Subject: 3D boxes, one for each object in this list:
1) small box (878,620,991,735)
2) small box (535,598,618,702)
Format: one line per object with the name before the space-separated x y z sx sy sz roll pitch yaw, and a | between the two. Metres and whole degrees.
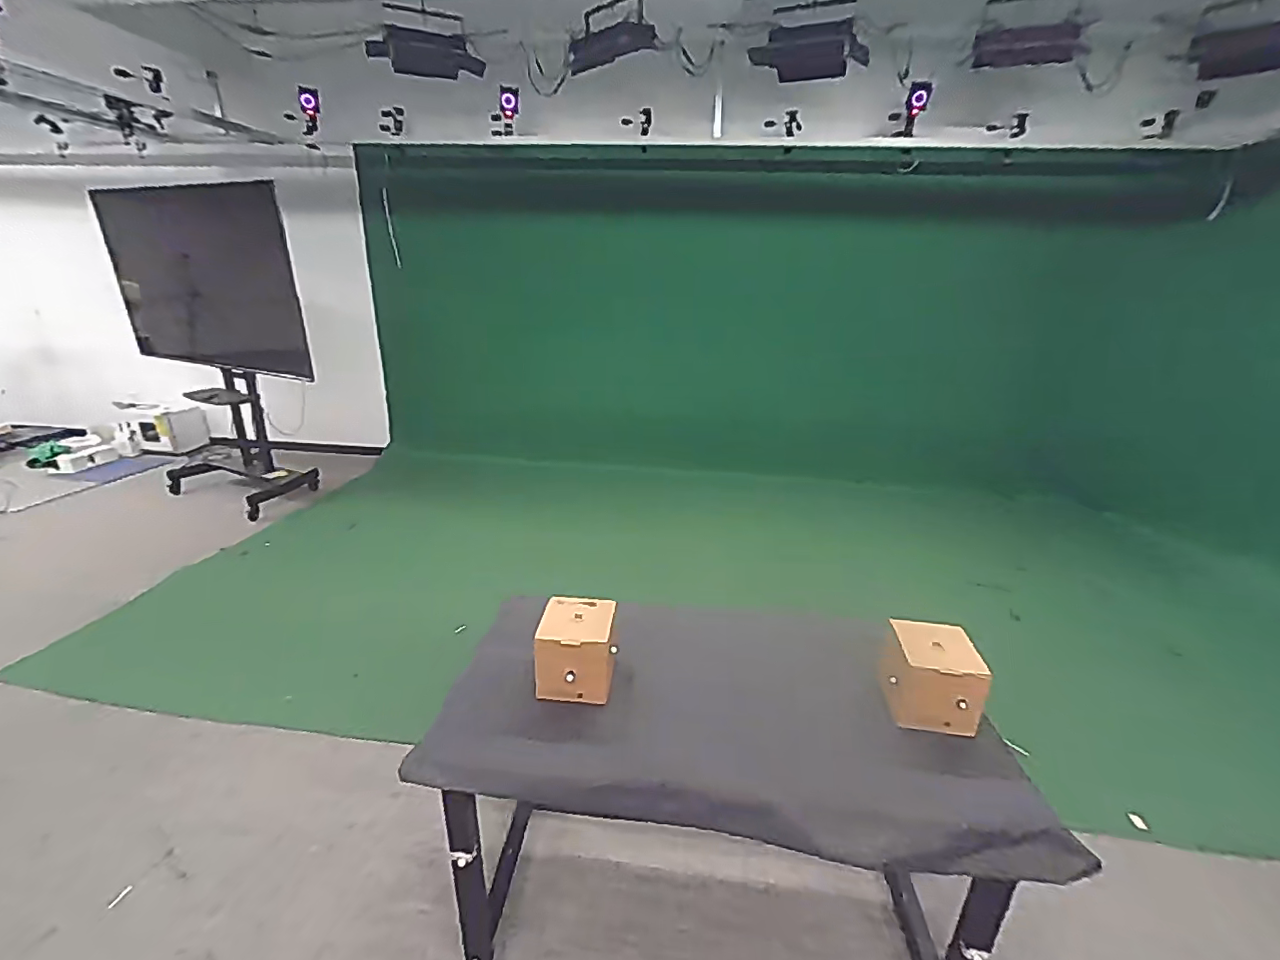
small box | 0.660 0.447 1.233 0.168 0.176 0.179 5 19 8
small box | -0.144 0.404 1.291 0.168 0.176 0.179 4 20 3
